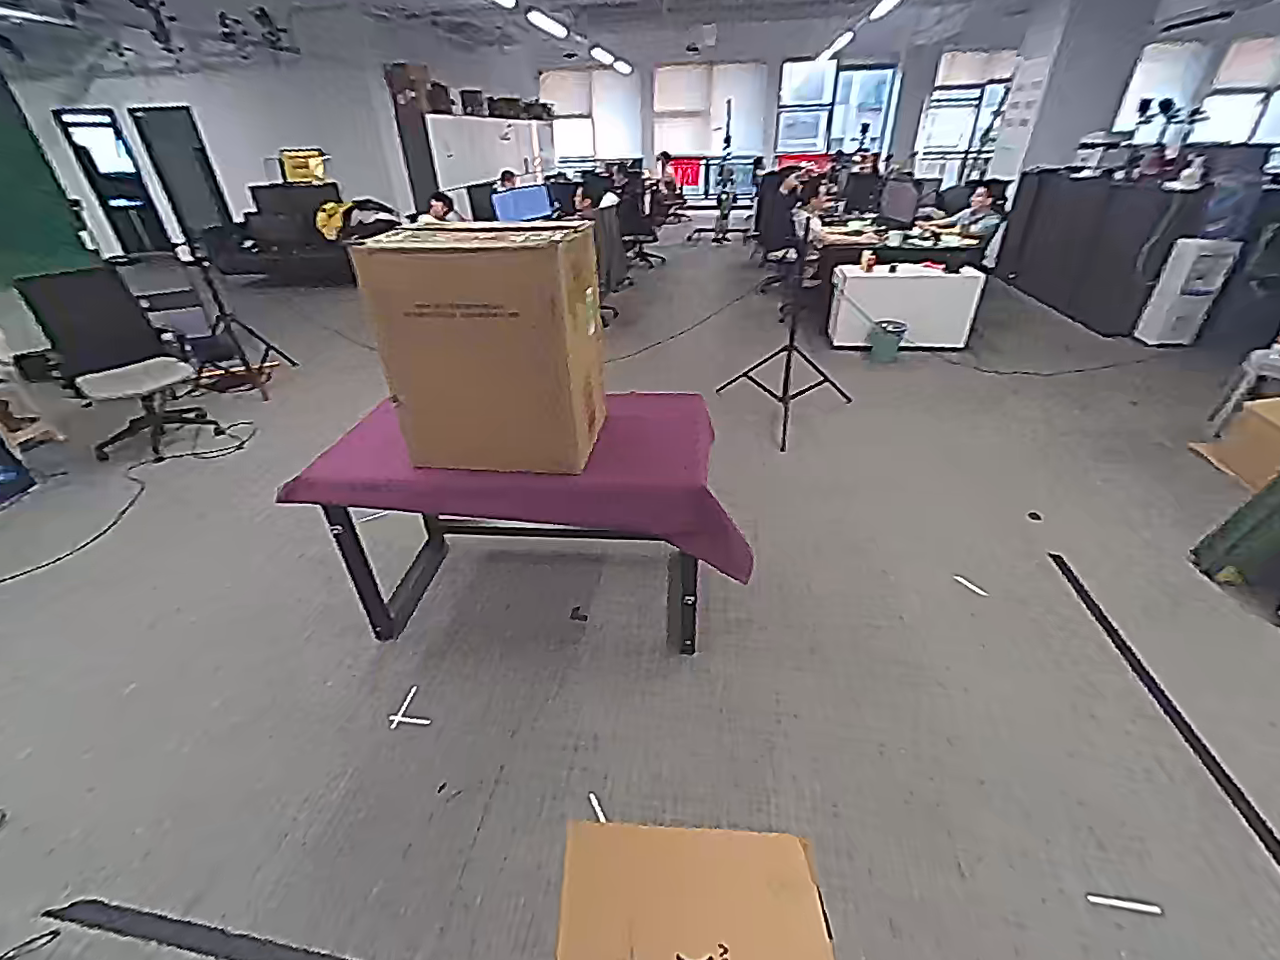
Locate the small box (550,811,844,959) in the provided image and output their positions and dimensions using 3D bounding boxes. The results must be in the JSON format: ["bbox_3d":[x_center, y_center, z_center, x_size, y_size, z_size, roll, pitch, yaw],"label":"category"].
[{"bbox_3d":[0.027,0.349,0.358,0.179,0.176,0.168,5,33,-5],"label":"small box"}]
